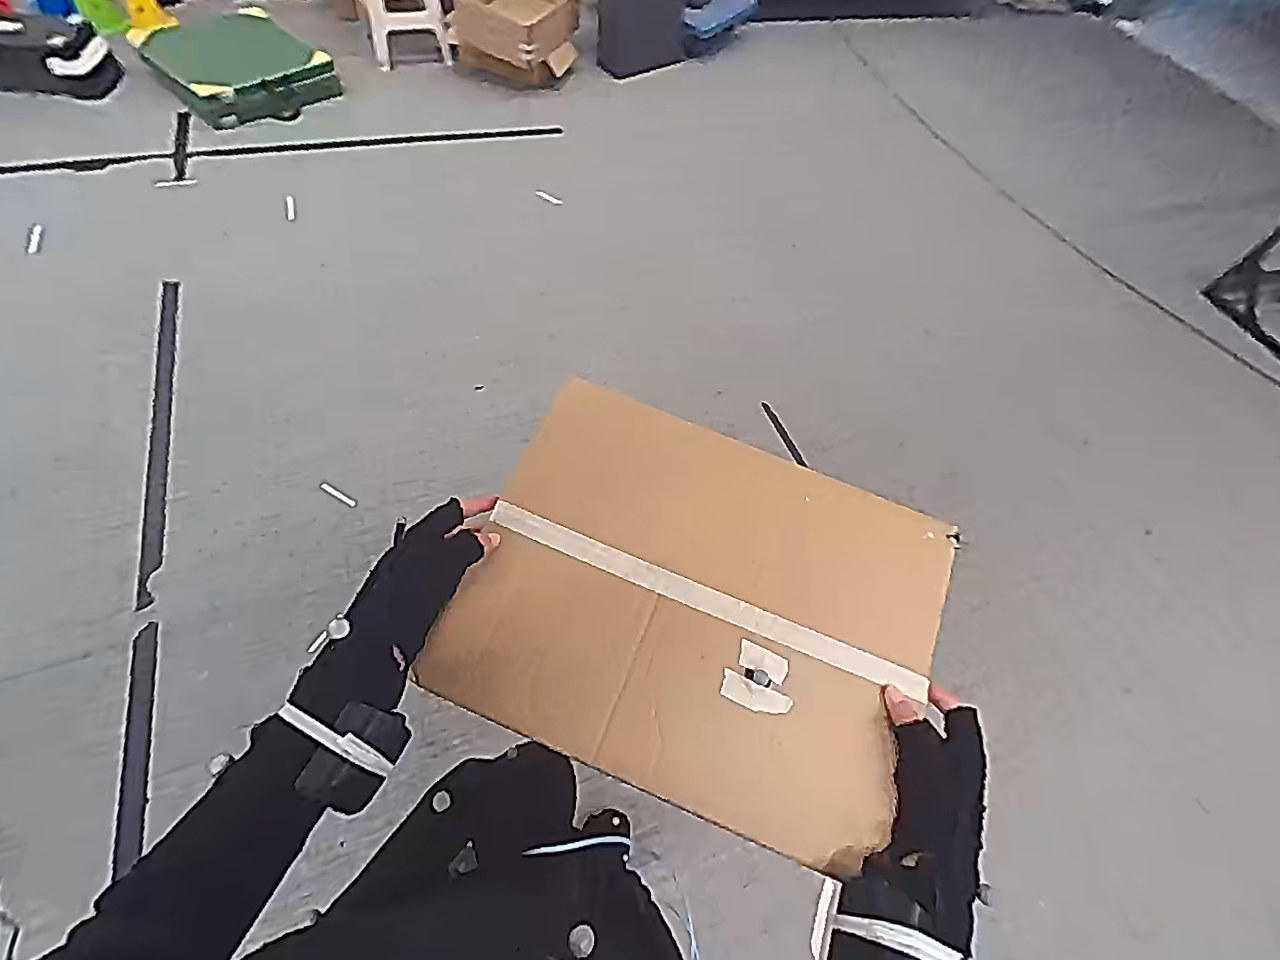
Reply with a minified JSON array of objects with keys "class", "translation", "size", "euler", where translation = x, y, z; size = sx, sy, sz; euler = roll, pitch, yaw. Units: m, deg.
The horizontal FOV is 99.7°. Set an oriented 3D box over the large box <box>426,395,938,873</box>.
[{"class":"large box","translation":[0.044,0.163,0.631],"size":[0.408,0.320,0.320],"euler":[22,70,4]}]
